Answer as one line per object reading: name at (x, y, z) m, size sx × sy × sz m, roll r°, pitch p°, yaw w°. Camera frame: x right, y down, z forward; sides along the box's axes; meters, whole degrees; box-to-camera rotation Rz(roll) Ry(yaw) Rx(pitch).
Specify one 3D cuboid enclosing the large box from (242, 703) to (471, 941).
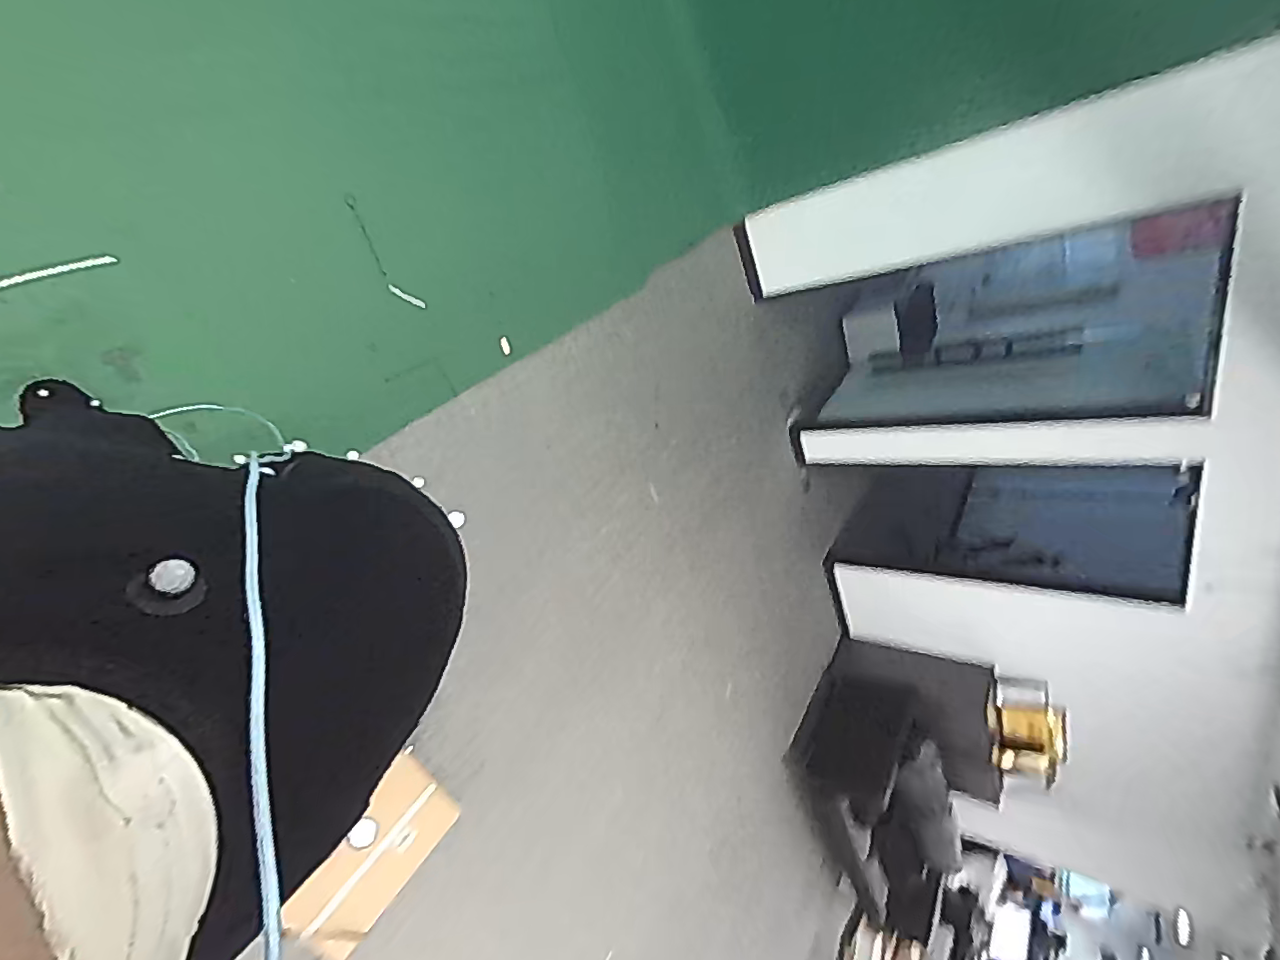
large box at (-0.764, 0.909, 1.486) m, size 0.408 × 0.320 × 0.320 m, roll -48°, pitch 125°, yaw -38°
